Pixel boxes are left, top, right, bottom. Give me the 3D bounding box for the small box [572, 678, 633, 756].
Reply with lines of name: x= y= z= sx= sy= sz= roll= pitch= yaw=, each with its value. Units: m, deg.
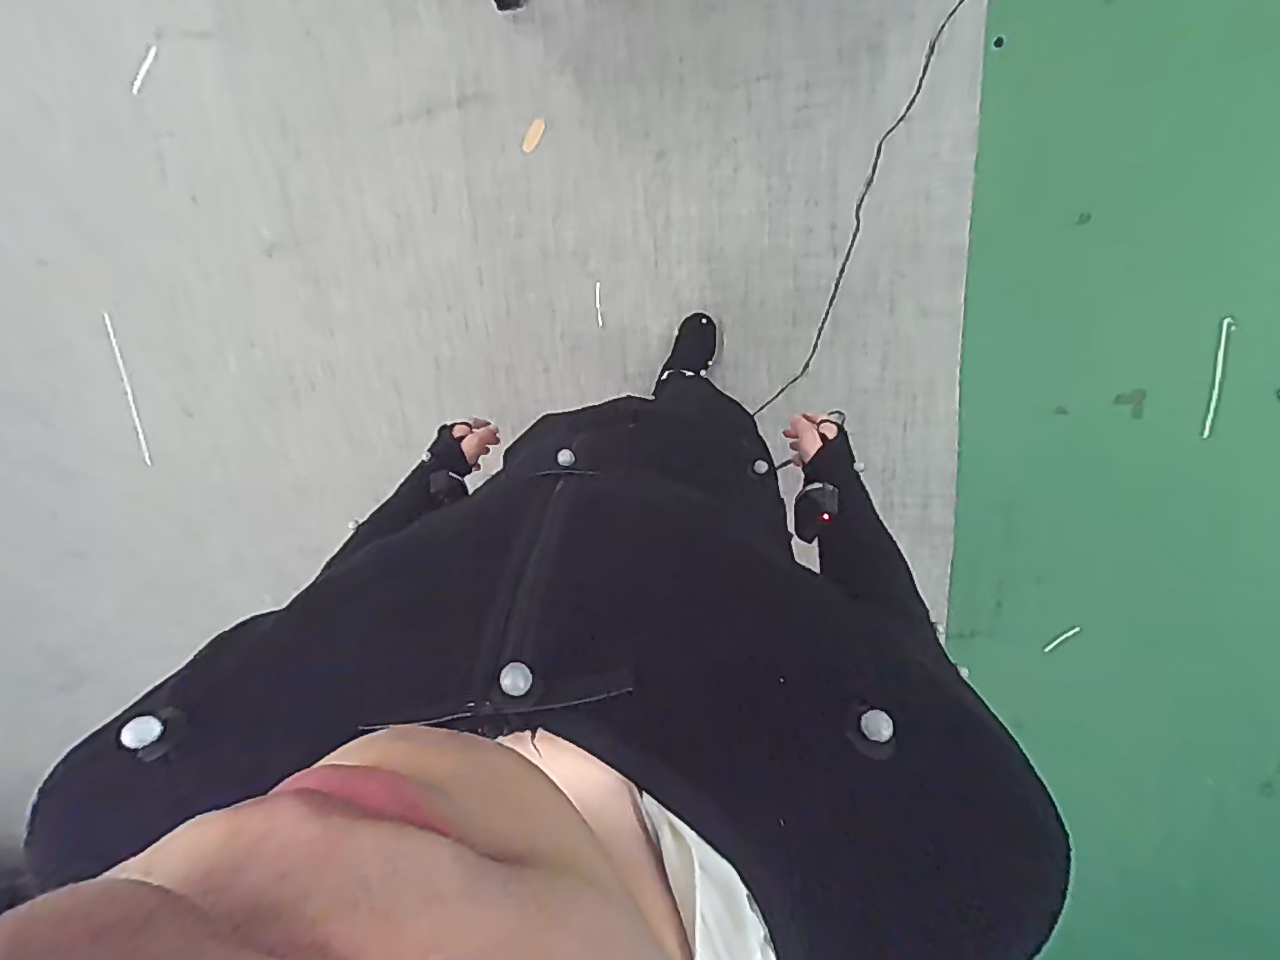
small box: x=-0.114 y=0.750 z=1.722 sx=0.179 sy=0.176 sz=0.168 roll=-1 pitch=103 yaw=4
